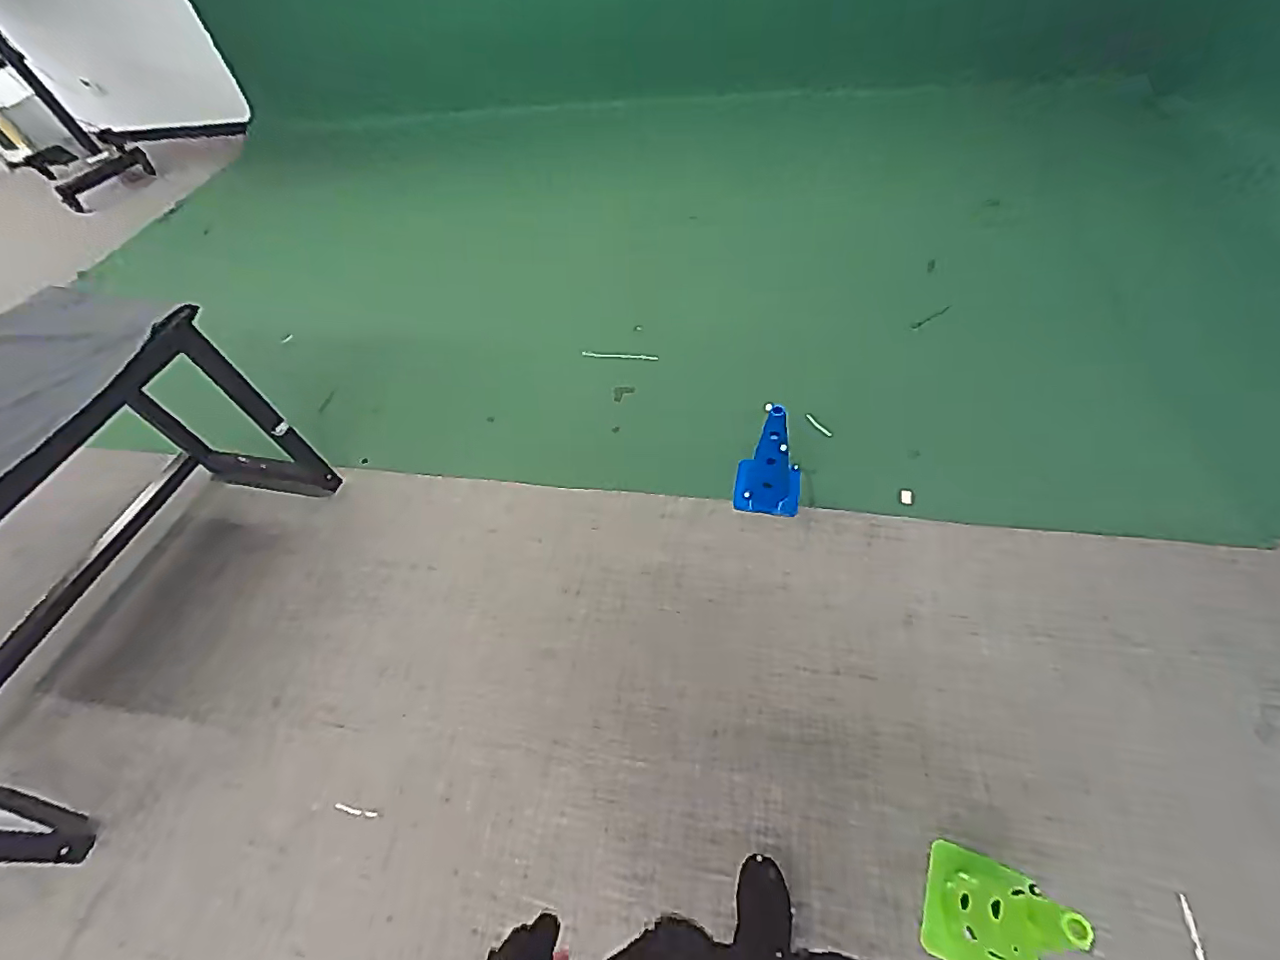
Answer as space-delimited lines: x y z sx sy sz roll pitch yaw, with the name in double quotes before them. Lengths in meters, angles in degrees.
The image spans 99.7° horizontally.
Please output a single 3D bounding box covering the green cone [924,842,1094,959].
"green cone" 0.651 0.753 0.923 0.200 0.368 0.202 15 57 19
